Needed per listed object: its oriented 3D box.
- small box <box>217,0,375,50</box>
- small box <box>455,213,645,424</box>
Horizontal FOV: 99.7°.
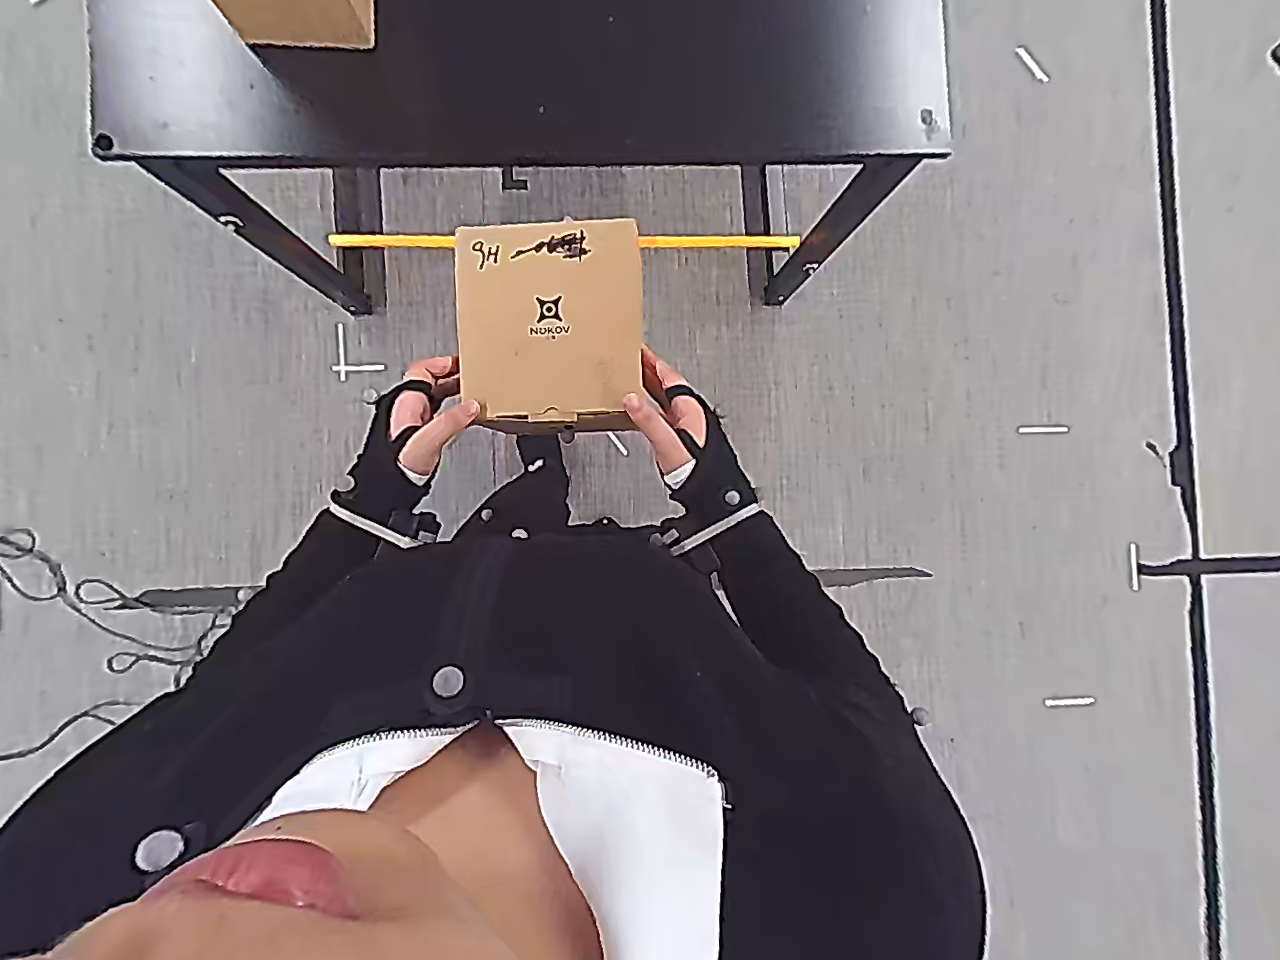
[{"bbox_3d":[-0.453,-0.682,0.672,0.179,0.176,0.168,-1,89,-5],"label":"small box"},{"bbox_3d":[-0.080,-0.152,0.568,0.168,0.176,0.179,-2,90,2],"label":"small box"}]
